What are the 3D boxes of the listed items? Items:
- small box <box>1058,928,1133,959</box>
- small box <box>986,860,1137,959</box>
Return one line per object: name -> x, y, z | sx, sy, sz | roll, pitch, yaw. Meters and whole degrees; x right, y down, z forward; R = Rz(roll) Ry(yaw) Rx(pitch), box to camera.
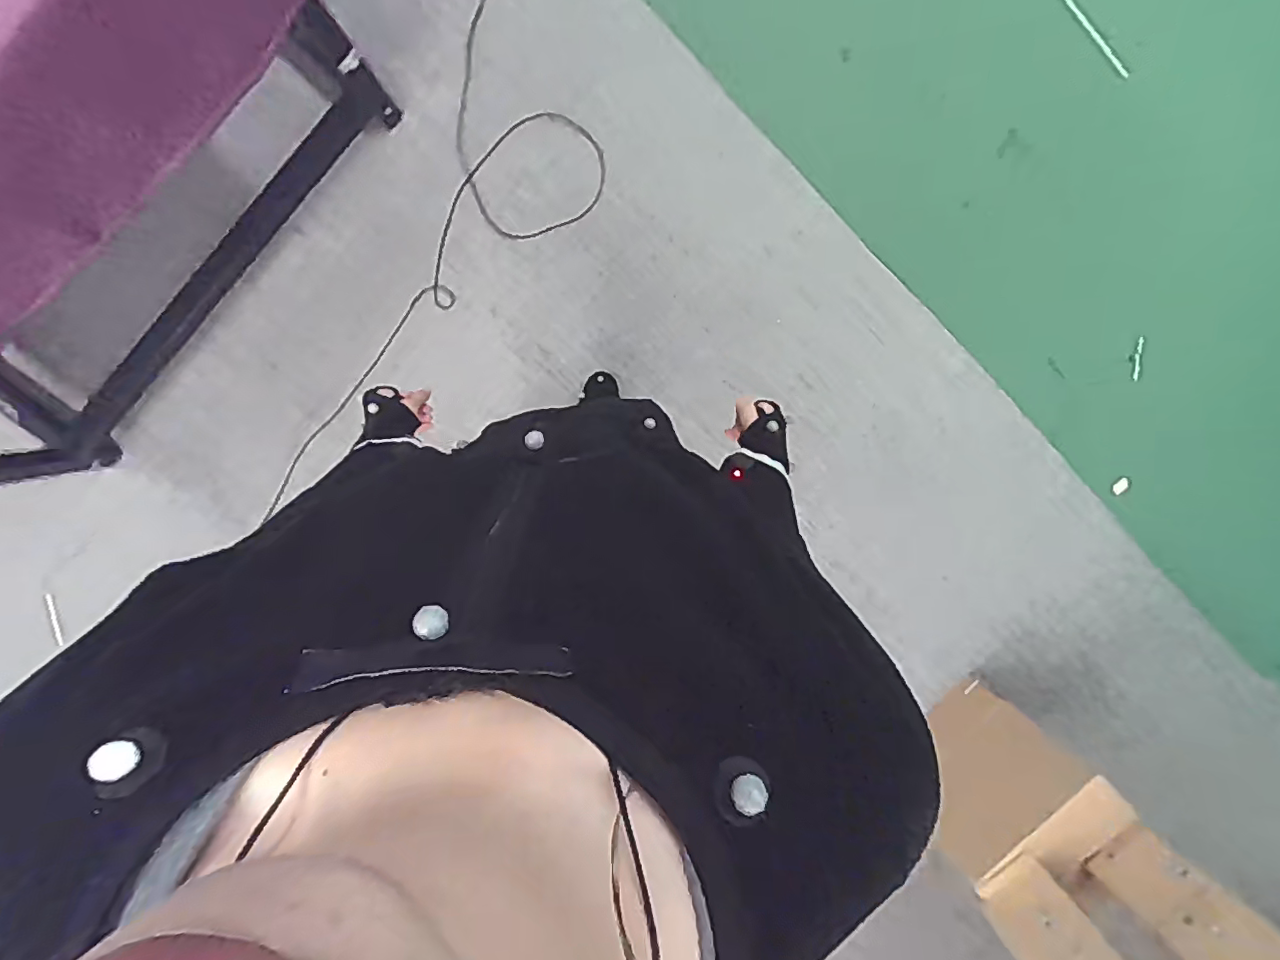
small box -> 0.945, 1.048, 1.055 | 0.179, 0.176, 0.168 | -43, 100, 4
small box -> 0.937, 1.016, 1.216 | 0.179, 0.176, 0.168 | -44, 98, 4
